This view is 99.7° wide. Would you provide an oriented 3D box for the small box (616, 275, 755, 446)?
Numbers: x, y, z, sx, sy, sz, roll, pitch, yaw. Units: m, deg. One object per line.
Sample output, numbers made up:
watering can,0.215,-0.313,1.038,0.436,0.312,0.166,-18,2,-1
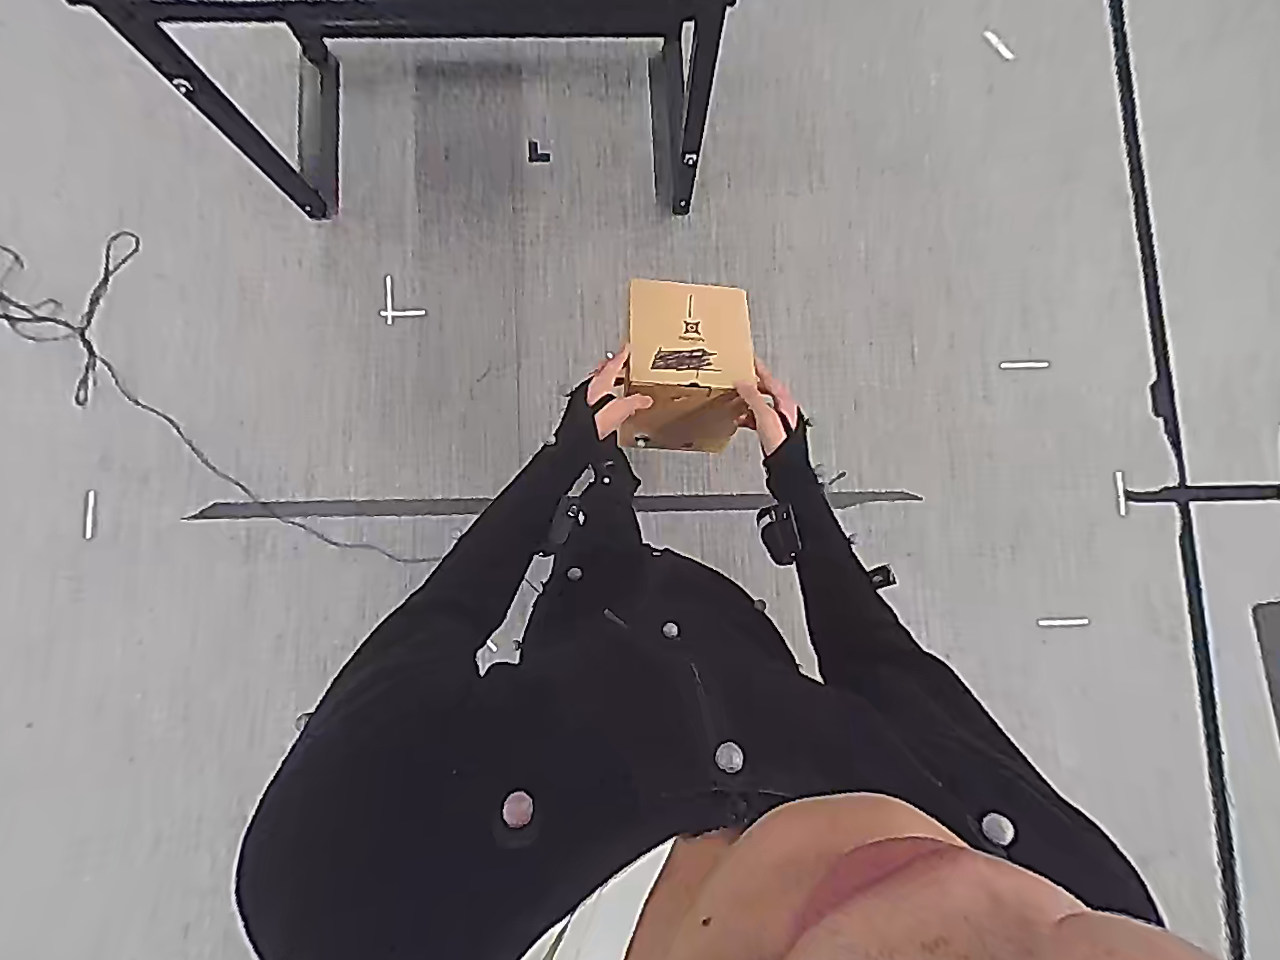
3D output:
small box,0.056,-0.163,0.779,0.168,0.176,0.179,3,63,-7
